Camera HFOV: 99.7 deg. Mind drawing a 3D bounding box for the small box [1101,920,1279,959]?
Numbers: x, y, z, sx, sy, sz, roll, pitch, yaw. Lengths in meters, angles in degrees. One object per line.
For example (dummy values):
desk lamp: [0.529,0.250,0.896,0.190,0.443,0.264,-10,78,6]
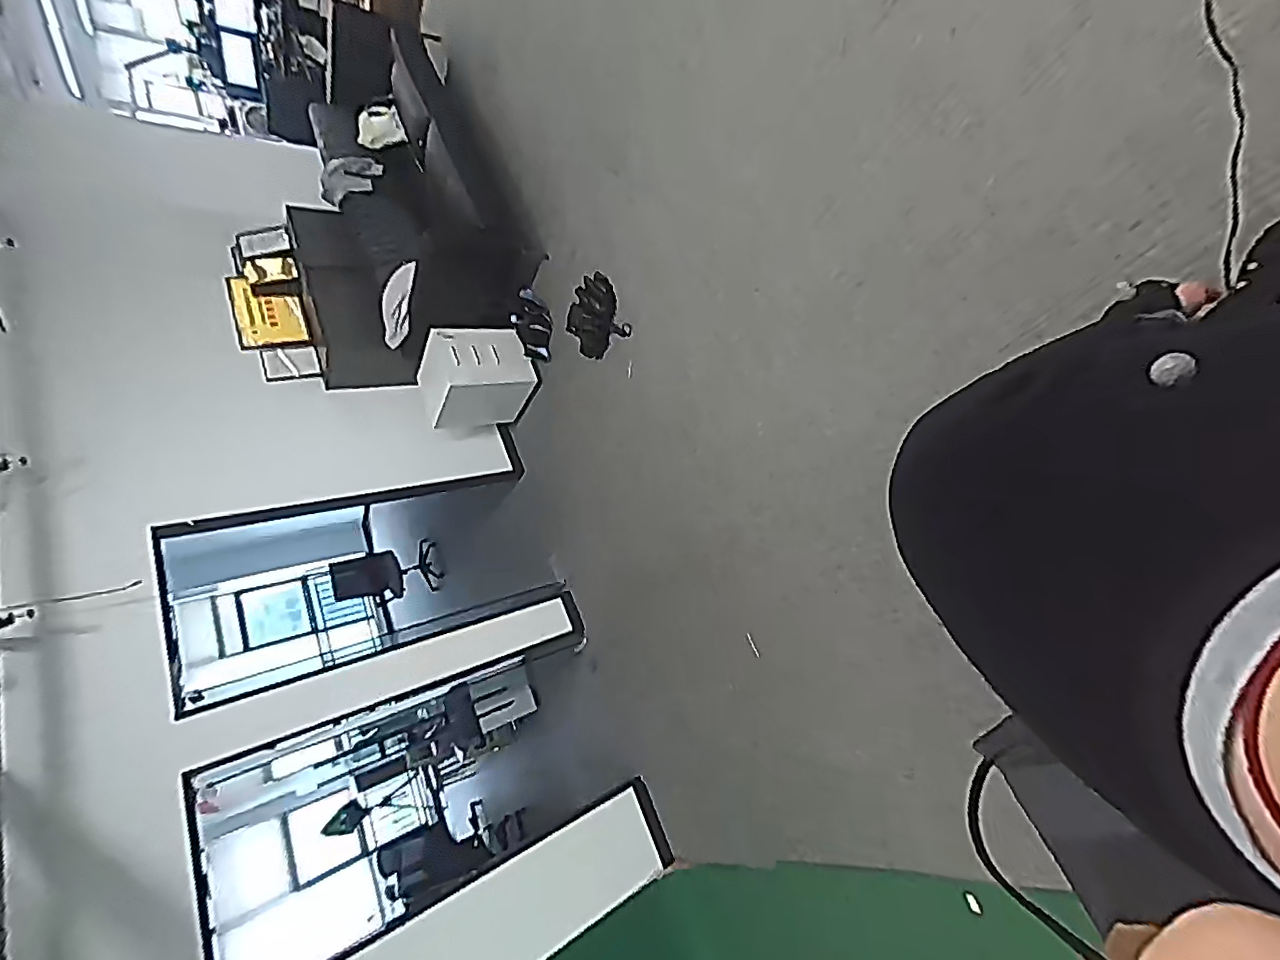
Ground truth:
small box: [0.672,0.657,0.628,0.179,0.176,0.168,-47,60,50]
